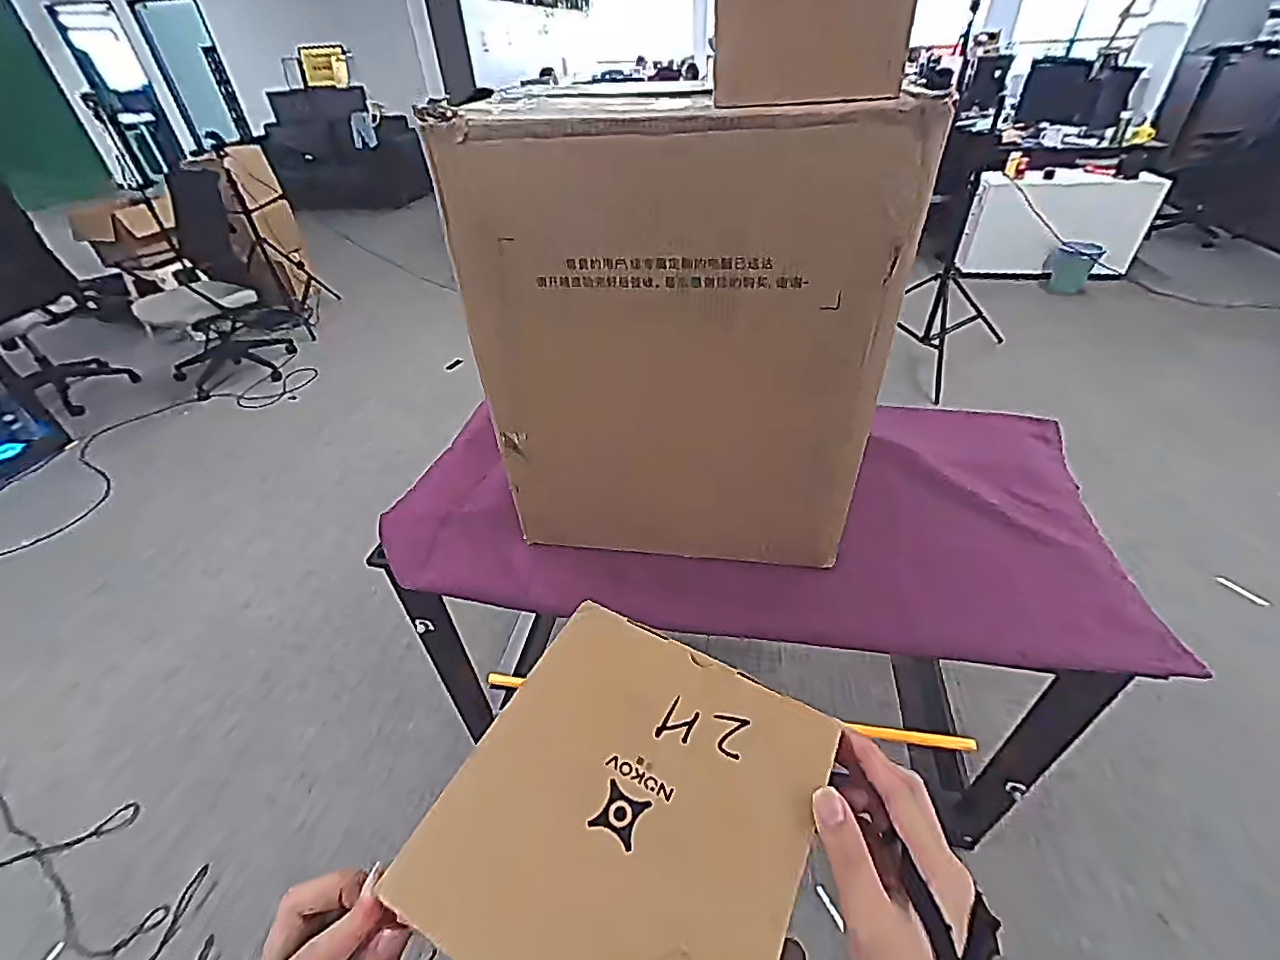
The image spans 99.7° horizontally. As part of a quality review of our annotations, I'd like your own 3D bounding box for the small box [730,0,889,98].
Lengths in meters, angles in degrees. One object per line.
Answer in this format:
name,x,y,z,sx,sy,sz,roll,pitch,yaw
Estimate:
small box,0.202,-0.575,0.660,0.179,0.176,0.168,4,39,10
